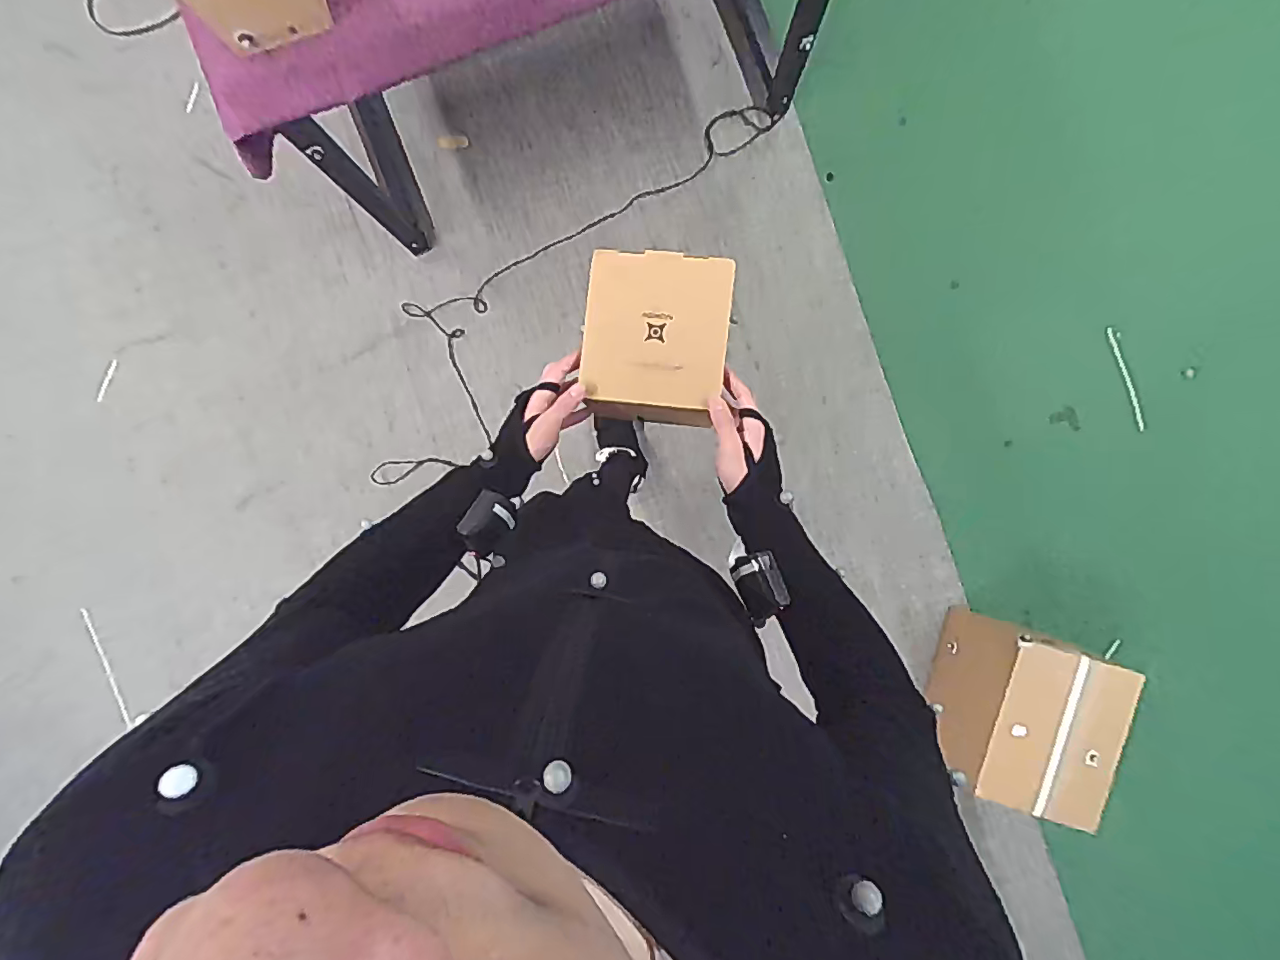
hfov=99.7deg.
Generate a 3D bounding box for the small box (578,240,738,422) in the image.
[{"bbox_3d":[0.024,-0.178,0.689,0.168,0.176,0.179,6,90,4],"label":"small box"}]

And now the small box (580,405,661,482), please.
[{"bbox_3d":[-0.058,-0.105,1.549,0.179,0.176,0.168,28,95,8],"label":"small box"}]

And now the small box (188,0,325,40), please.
[{"bbox_3d":[-0.595,-0.788,0.780,0.168,0.176,0.179,-18,90,1],"label":"small box"}]
